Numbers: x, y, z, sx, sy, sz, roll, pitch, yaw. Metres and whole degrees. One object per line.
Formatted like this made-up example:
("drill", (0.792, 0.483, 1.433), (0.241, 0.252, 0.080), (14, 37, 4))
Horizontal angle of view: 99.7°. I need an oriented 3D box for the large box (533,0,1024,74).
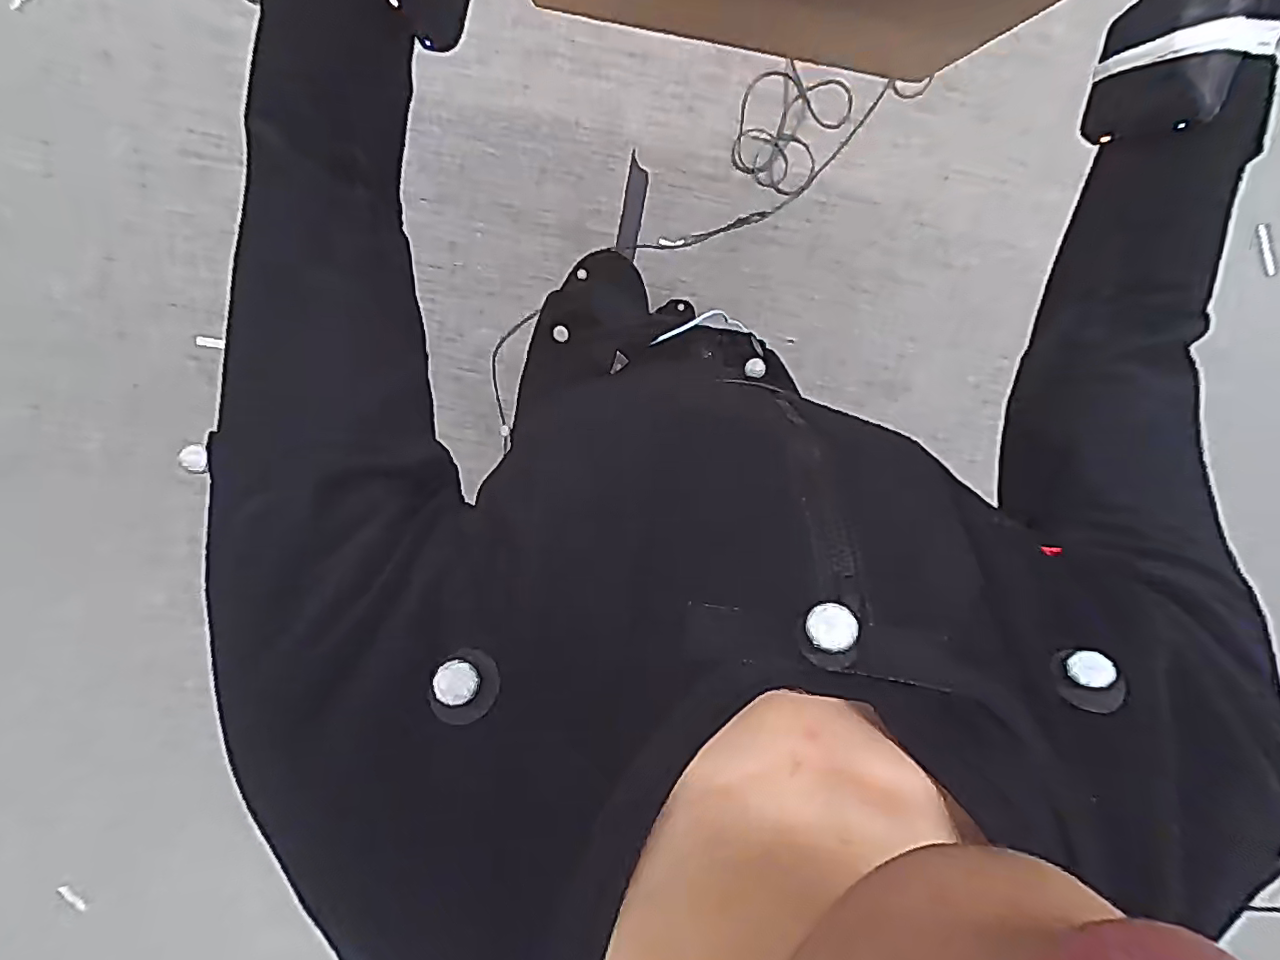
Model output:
("large box", (0.115, -0.529, 0.361), (0.408, 0.320, 0.320), (7, 113, -6))
